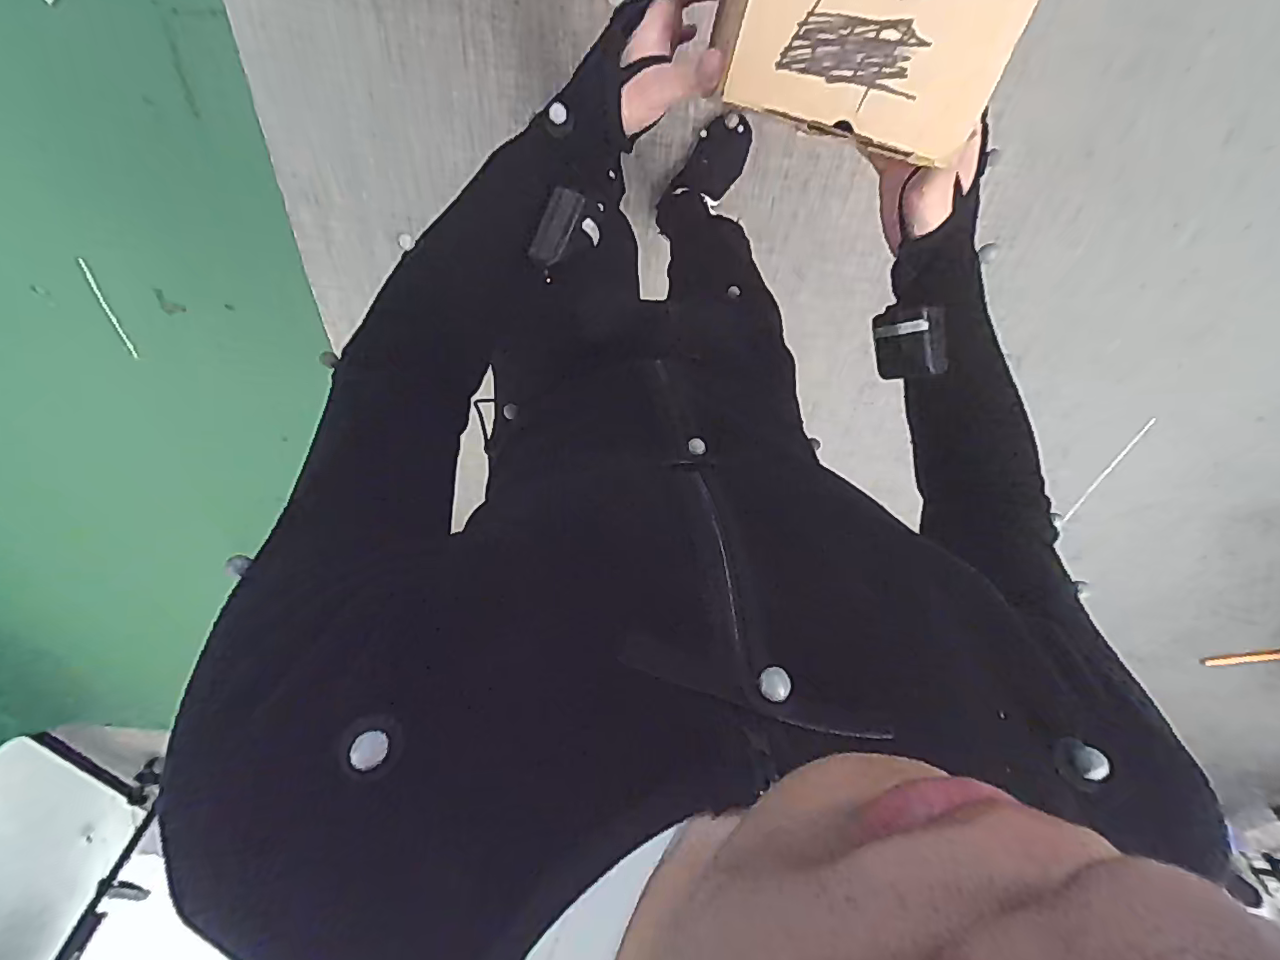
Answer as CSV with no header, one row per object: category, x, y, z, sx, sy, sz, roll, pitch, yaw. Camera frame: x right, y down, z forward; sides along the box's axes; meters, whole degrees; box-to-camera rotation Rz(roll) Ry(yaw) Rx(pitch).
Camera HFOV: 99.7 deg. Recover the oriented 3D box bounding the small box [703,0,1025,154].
small box,0.144,-0.344,0.361,0.168,0.176,0.179,11,125,-8
